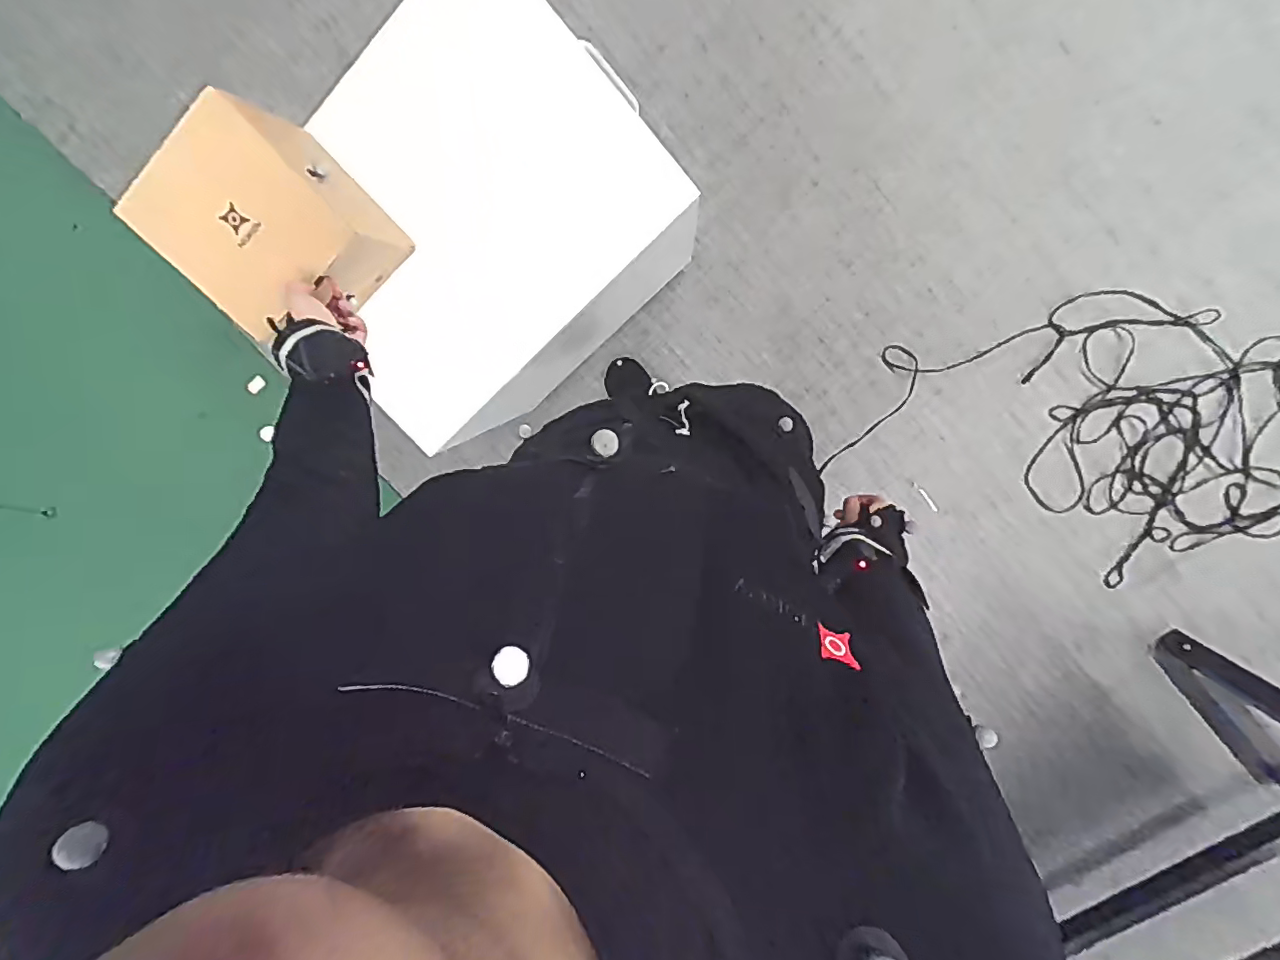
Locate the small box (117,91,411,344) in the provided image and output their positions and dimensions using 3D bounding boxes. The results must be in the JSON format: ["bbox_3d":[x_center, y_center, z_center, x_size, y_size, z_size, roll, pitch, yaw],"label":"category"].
[{"bbox_3d":[-0.402,-0.279,0.615,0.168,0.176,0.179,-40,108,11],"label":"small box"}]
